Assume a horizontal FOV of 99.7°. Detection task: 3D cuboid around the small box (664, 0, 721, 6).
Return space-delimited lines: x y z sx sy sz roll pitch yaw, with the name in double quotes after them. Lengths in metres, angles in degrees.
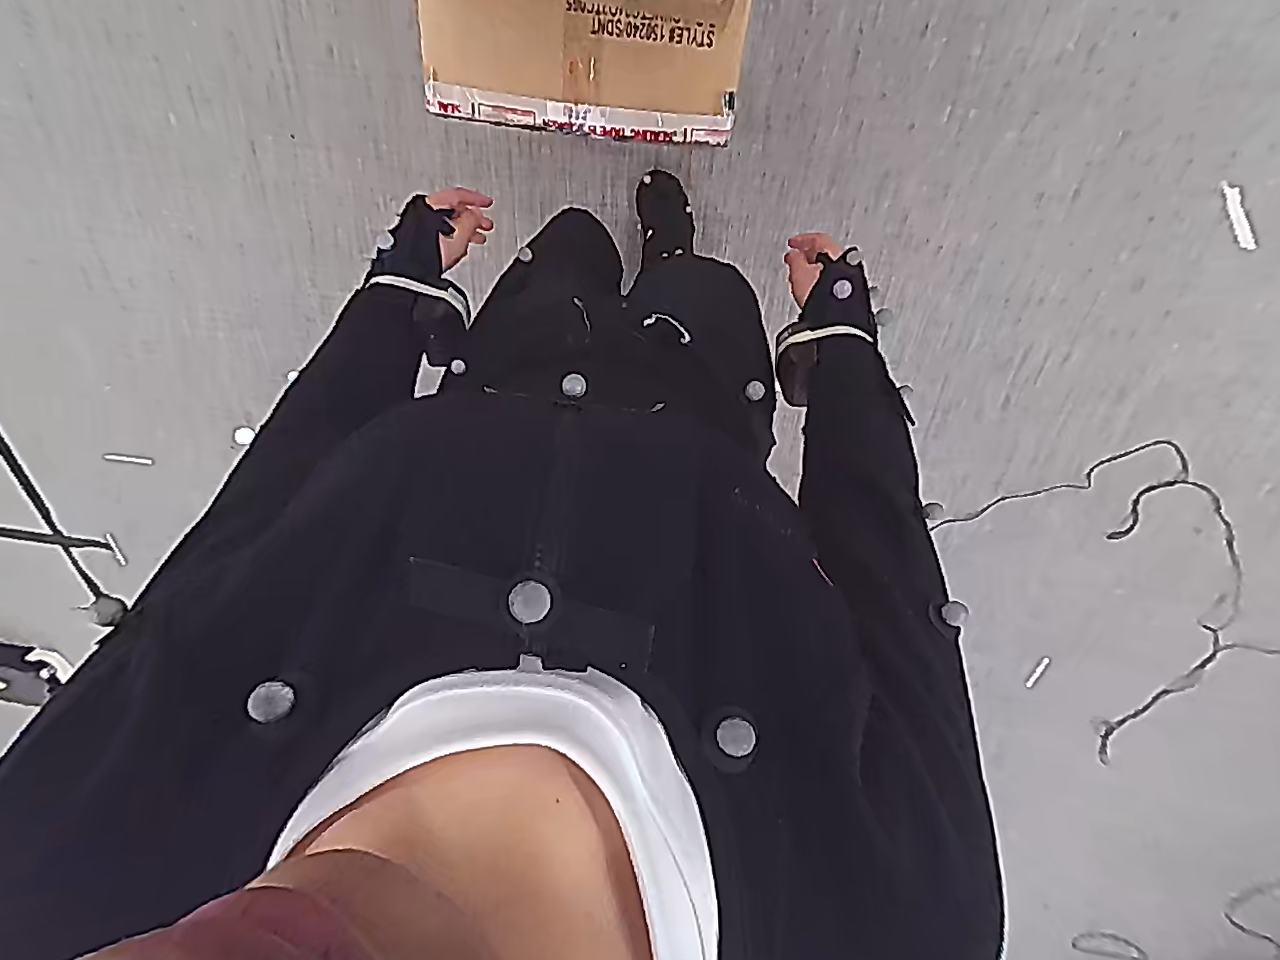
-0.003 -0.456 0.368 0.168 0.176 0.179 8 123 1 "small box"
